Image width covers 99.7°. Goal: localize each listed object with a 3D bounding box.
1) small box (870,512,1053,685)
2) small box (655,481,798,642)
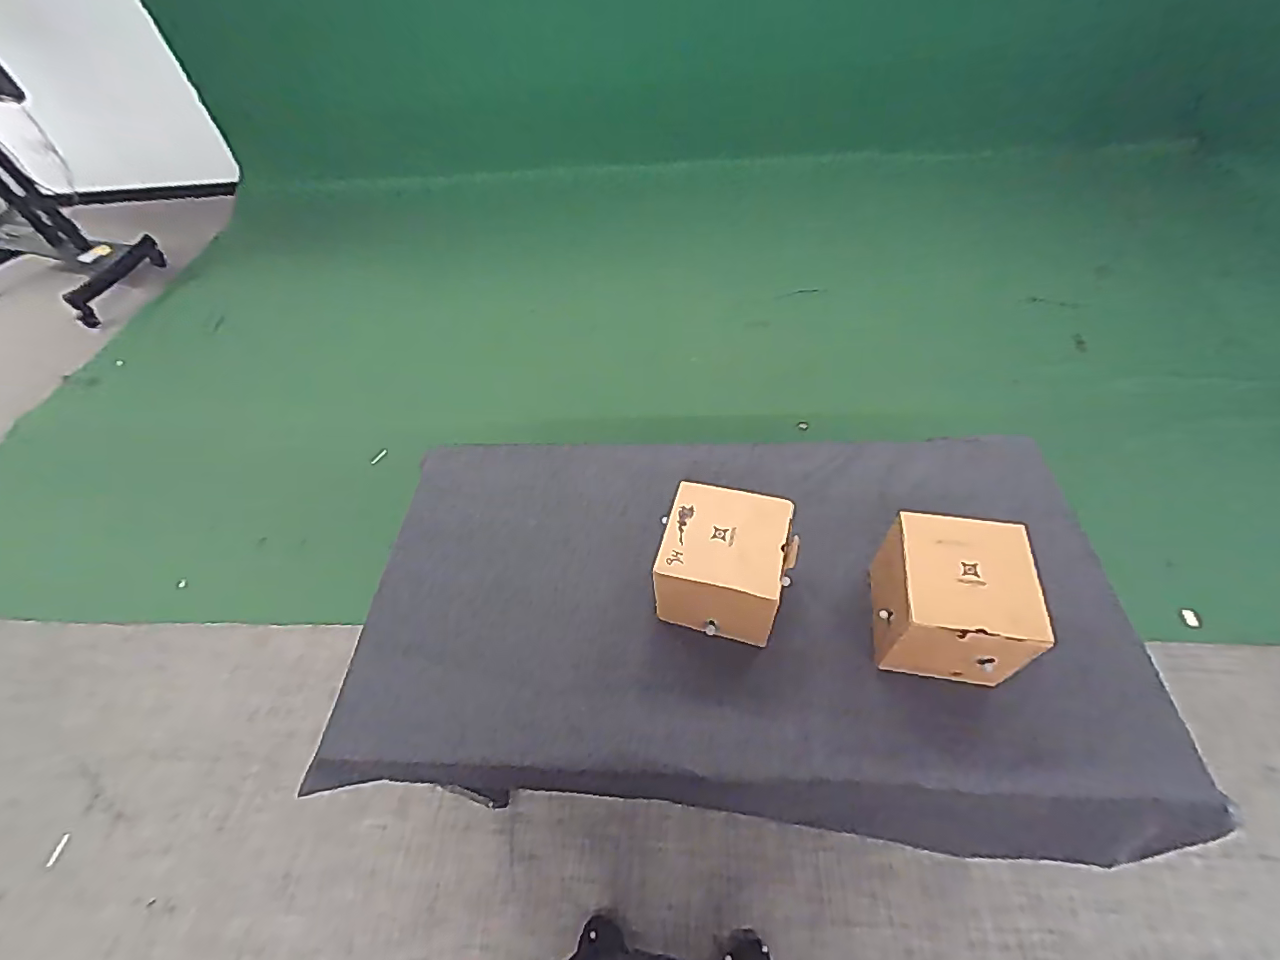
[{"bbox_3d":[0.440,0.173,0.775,0.168,0.176,0.179,8,52,9],"label":"small box"},{"bbox_3d":[0.131,0.131,0.836,0.179,0.176,0.168,12,53,13],"label":"small box"}]
